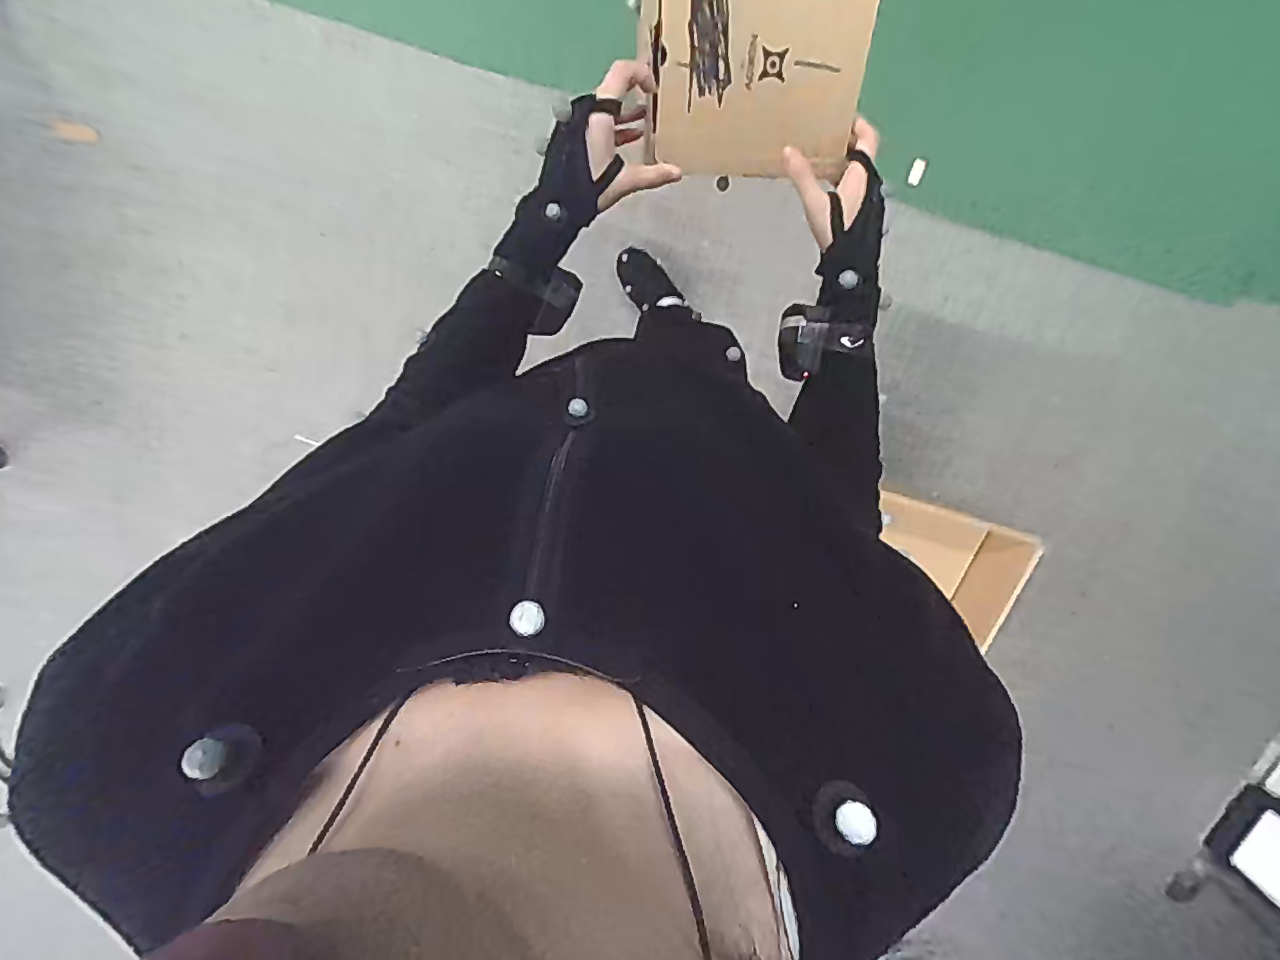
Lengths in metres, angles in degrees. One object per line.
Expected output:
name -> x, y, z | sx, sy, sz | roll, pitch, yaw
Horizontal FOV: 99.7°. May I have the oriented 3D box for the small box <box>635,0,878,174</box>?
small box -> 0.089, -0.382, 0.497 | 0.179, 0.176, 0.168 | -1, 122, -7
